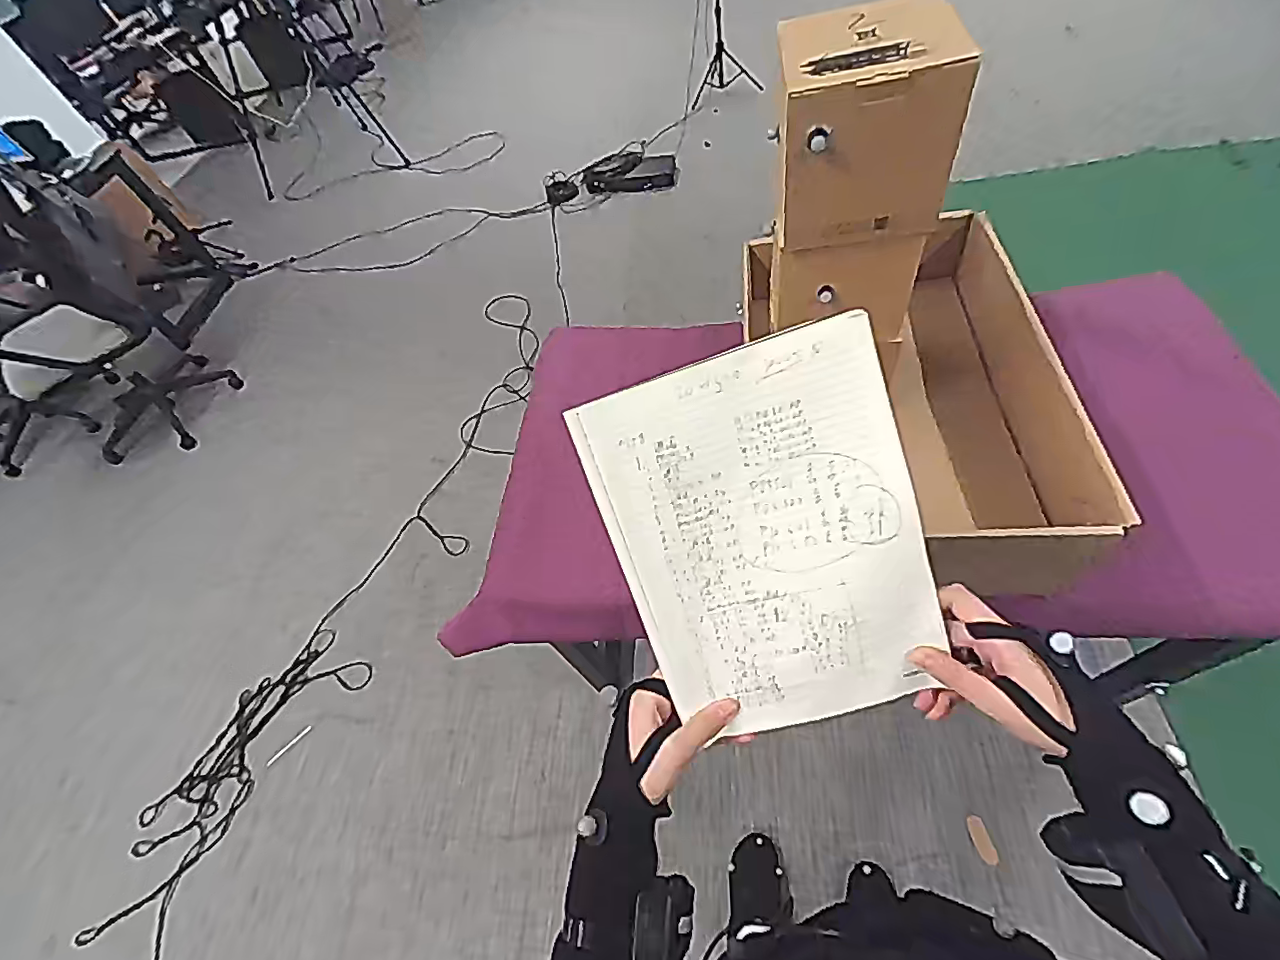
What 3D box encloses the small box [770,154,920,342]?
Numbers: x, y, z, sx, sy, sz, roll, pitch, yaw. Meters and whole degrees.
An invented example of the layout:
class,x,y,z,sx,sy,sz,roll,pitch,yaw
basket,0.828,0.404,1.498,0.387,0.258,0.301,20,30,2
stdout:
class,x,y,z,sx,sy,sz,roll,pitch,yaw
small box,0.266,-0.305,0.740,0.168,0.176,0.179,-1,56,13
